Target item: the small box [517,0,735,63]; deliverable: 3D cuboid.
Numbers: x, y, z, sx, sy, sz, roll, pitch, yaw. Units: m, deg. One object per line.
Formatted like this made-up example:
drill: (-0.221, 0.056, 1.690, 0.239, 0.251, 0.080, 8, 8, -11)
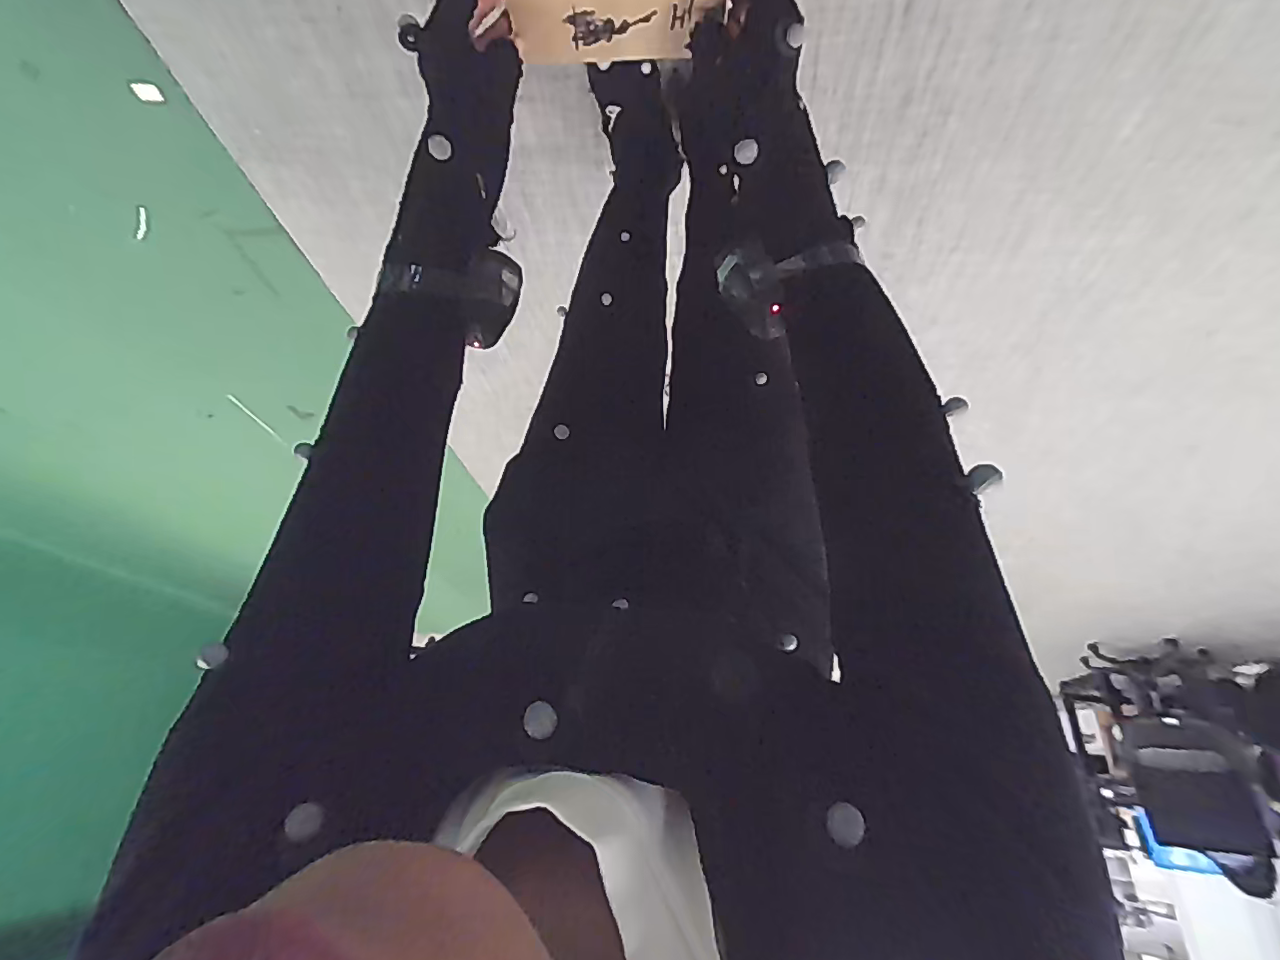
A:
small box: (-0.007, -0.450, 0.401, 0.168, 0.176, 0.179, 4, 150, 8)
